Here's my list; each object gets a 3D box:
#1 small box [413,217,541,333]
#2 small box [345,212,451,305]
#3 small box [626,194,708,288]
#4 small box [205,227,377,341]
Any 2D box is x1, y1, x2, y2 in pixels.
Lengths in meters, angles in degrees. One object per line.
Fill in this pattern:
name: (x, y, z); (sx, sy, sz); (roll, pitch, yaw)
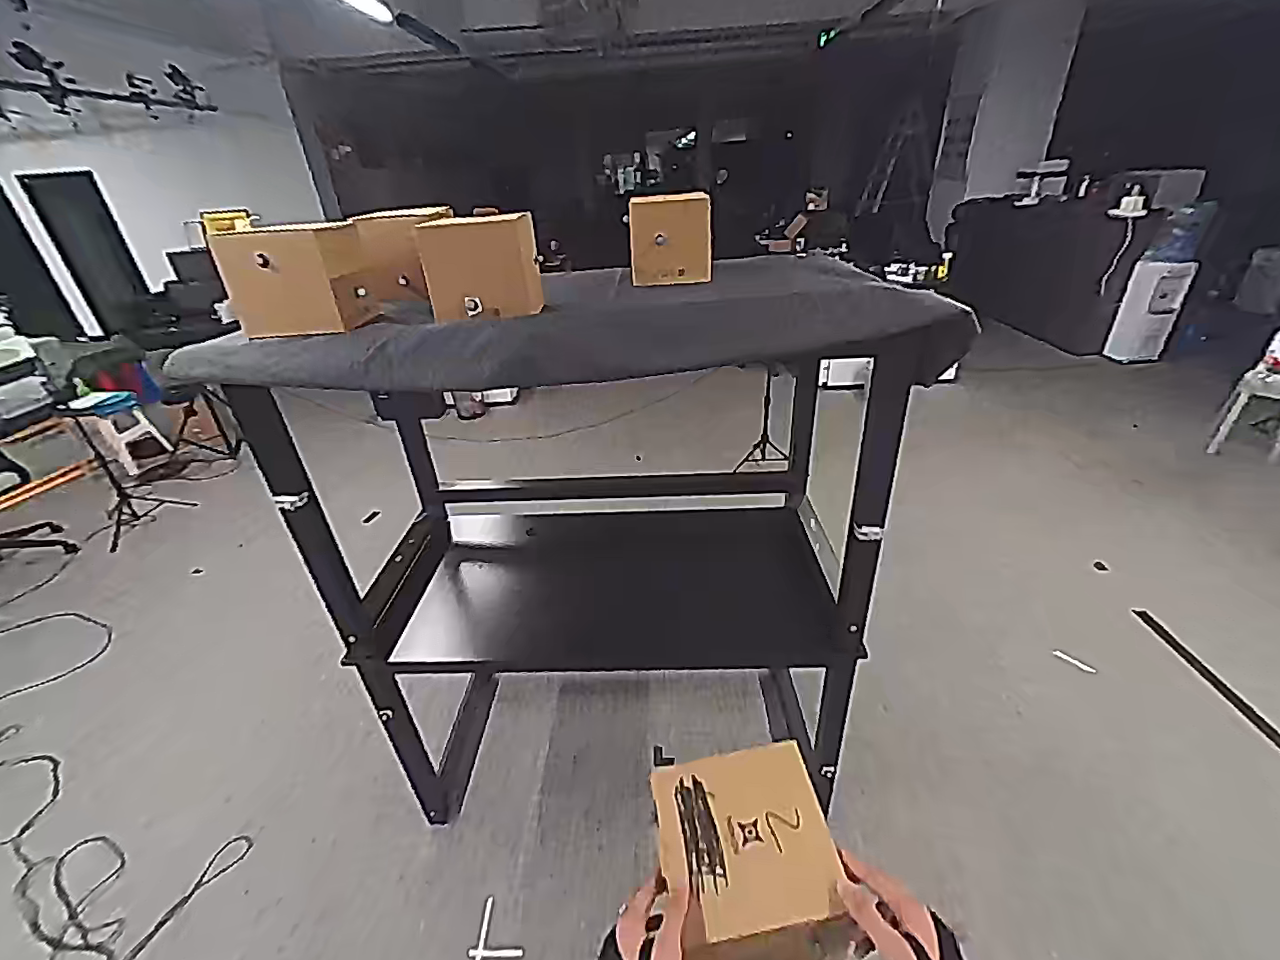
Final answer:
small box: (-0.274, -0.364, 0.954); (0.168, 0.176, 0.179); (-5, 29, -1)
small box: (-0.515, -0.497, 1.213); (0.179, 0.176, 0.168); (-3, 30, 1)
small box: (0.061, -0.527, 1.196); (0.168, 0.176, 0.179); (-3, 30, 2)
small box: (-0.606, -0.351, 0.966); (0.179, 0.176, 0.168); (-4, 29, -1)
